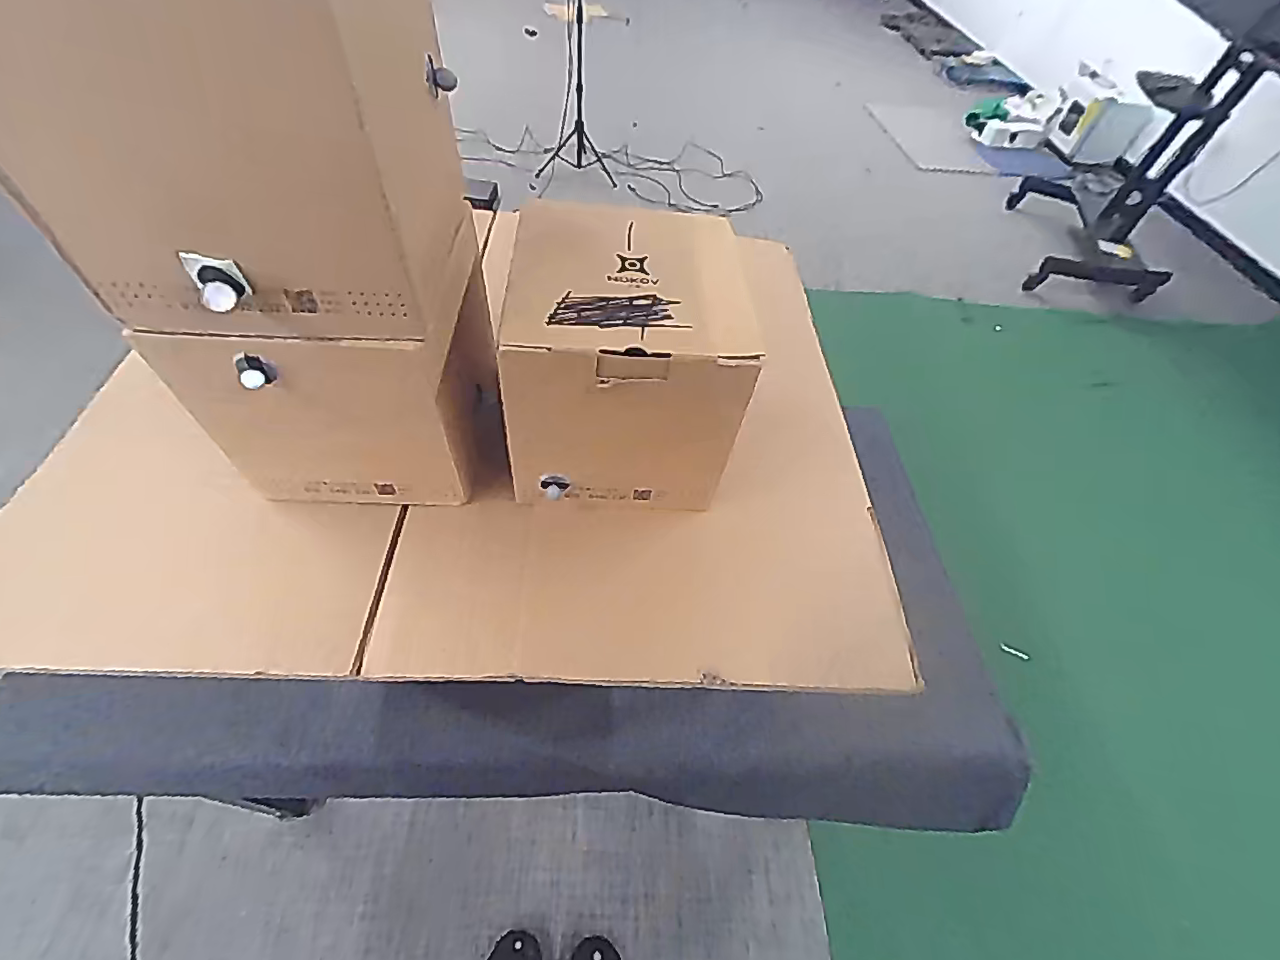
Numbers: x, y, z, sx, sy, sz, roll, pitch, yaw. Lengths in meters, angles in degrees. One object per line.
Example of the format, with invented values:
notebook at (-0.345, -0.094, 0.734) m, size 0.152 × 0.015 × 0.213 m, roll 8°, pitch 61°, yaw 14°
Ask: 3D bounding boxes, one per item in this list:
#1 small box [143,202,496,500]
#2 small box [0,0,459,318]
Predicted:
small box at (-0.218, -0.105, 0.434) m, size 0.168 × 0.176 × 0.179 m, roll 2°, pitch 53°, yaw -3°
small box at (-0.203, -0.212, 0.293) m, size 0.168 × 0.176 × 0.179 m, roll -1°, pitch 55°, yaw -6°
